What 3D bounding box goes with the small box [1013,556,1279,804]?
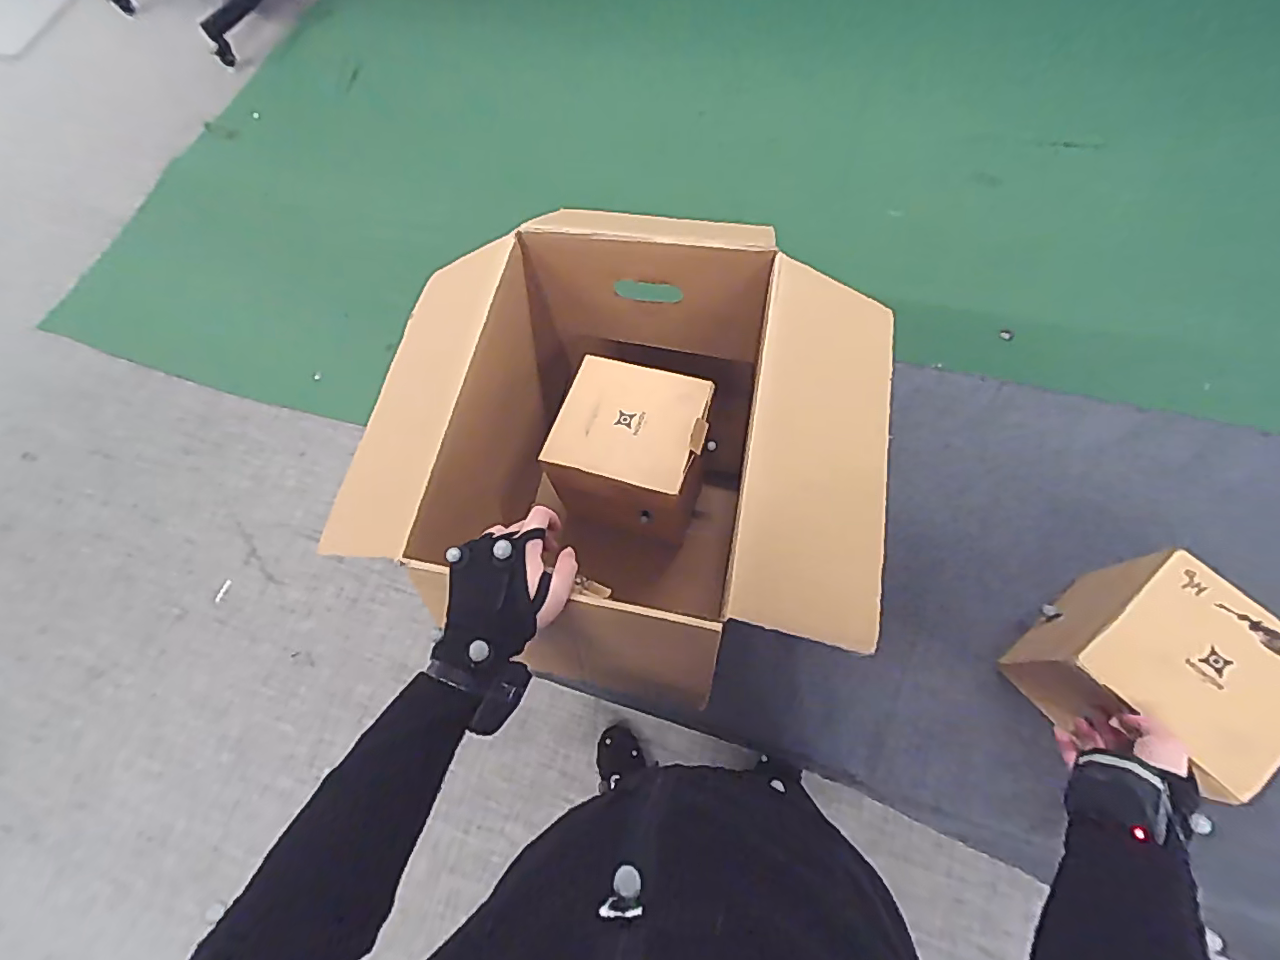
[{"bbox_3d":[0.564,0.217,0.603,0.179,0.176,0.168,-39,69,-8],"label":"small box"}]
